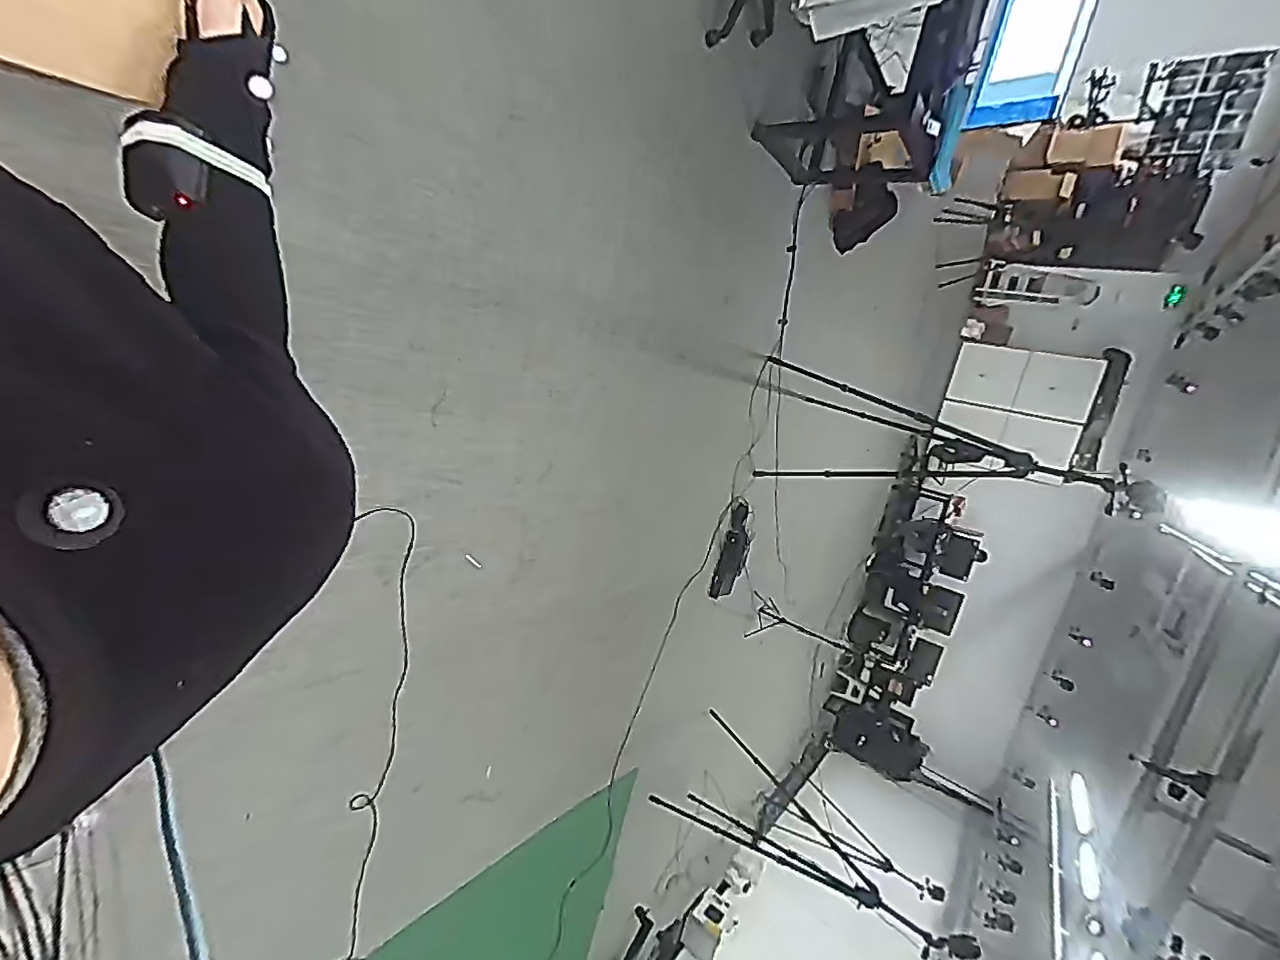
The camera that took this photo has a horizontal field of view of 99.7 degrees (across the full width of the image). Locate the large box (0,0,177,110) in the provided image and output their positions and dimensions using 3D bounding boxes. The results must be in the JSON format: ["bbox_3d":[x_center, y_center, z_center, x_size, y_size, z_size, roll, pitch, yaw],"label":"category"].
[{"bbox_3d":[-0.580,-0.473,0.308,0.408,0.320,0.320,-17,129,-55],"label":"large box"}]
